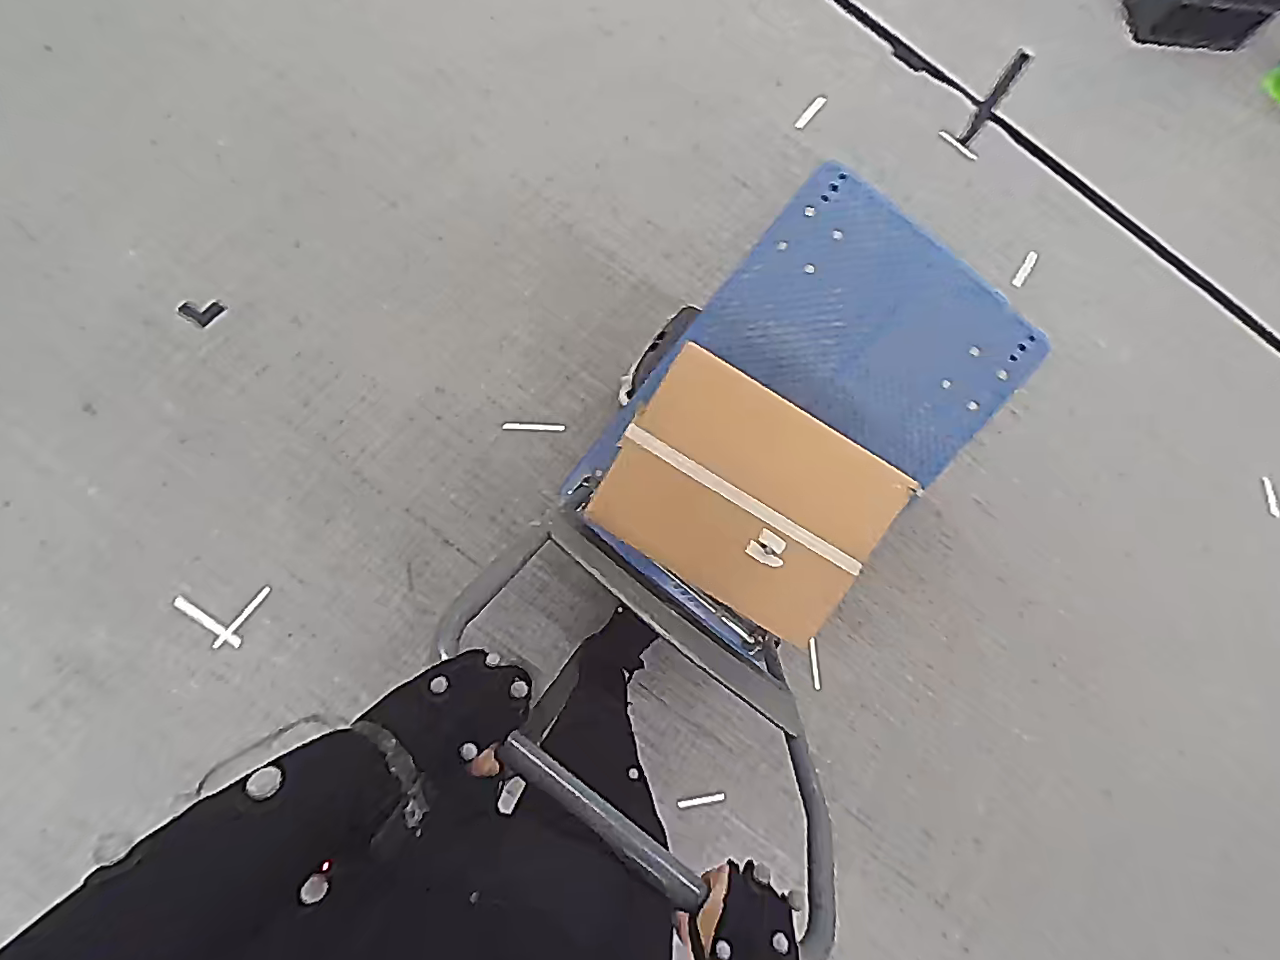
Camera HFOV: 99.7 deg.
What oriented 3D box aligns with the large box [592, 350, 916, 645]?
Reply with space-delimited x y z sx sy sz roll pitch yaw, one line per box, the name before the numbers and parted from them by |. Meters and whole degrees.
large box | 0.175 0.014 0.971 0.408 0.320 0.320 32 99 -1
